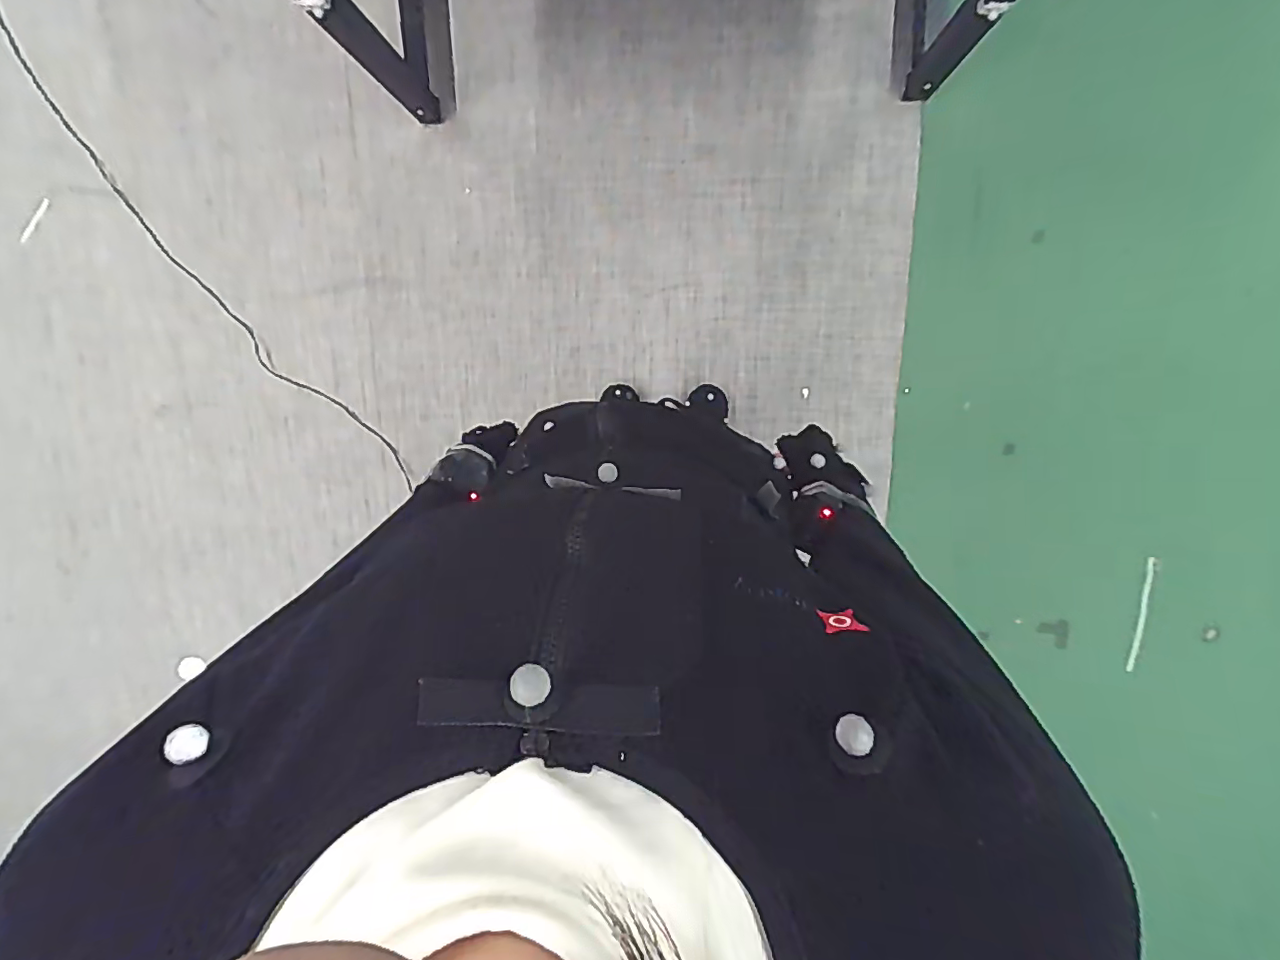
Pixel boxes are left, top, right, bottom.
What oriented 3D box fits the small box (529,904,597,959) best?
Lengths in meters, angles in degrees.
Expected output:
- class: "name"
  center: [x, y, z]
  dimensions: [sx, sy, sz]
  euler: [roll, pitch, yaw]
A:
- class: "small box"
  center: [-0.222, 1.404, 1.605]
  dimensions: [0.179, 0.176, 0.168]
  euler: [-2, 102, 4]
